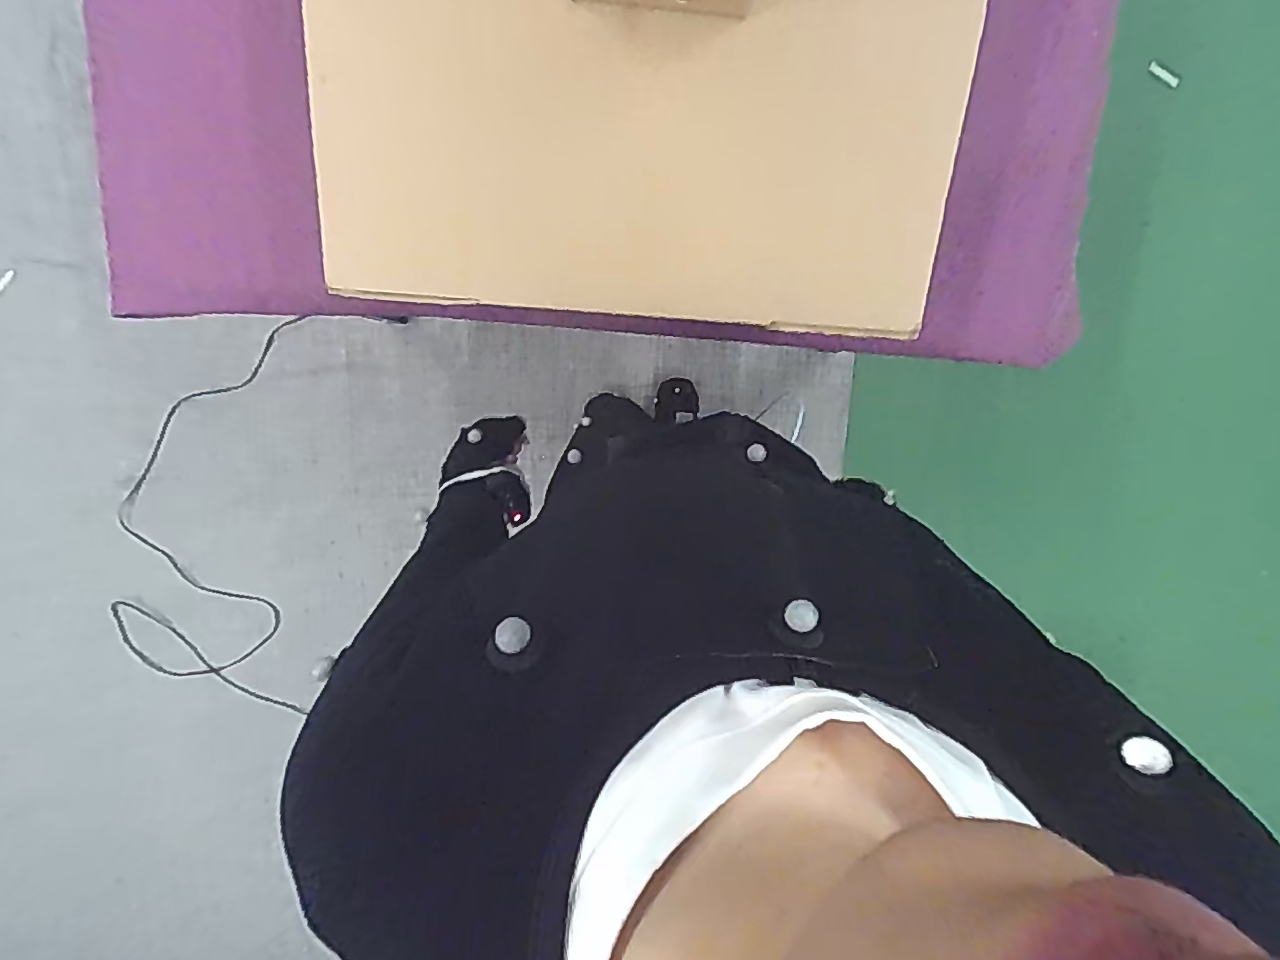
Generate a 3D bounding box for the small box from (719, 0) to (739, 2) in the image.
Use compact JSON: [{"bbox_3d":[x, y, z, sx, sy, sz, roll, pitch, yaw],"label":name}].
[{"bbox_3d":[0.025,-0.490,0.383,0.168,0.176,0.179,1,100,-1],"label":"small box"}]
